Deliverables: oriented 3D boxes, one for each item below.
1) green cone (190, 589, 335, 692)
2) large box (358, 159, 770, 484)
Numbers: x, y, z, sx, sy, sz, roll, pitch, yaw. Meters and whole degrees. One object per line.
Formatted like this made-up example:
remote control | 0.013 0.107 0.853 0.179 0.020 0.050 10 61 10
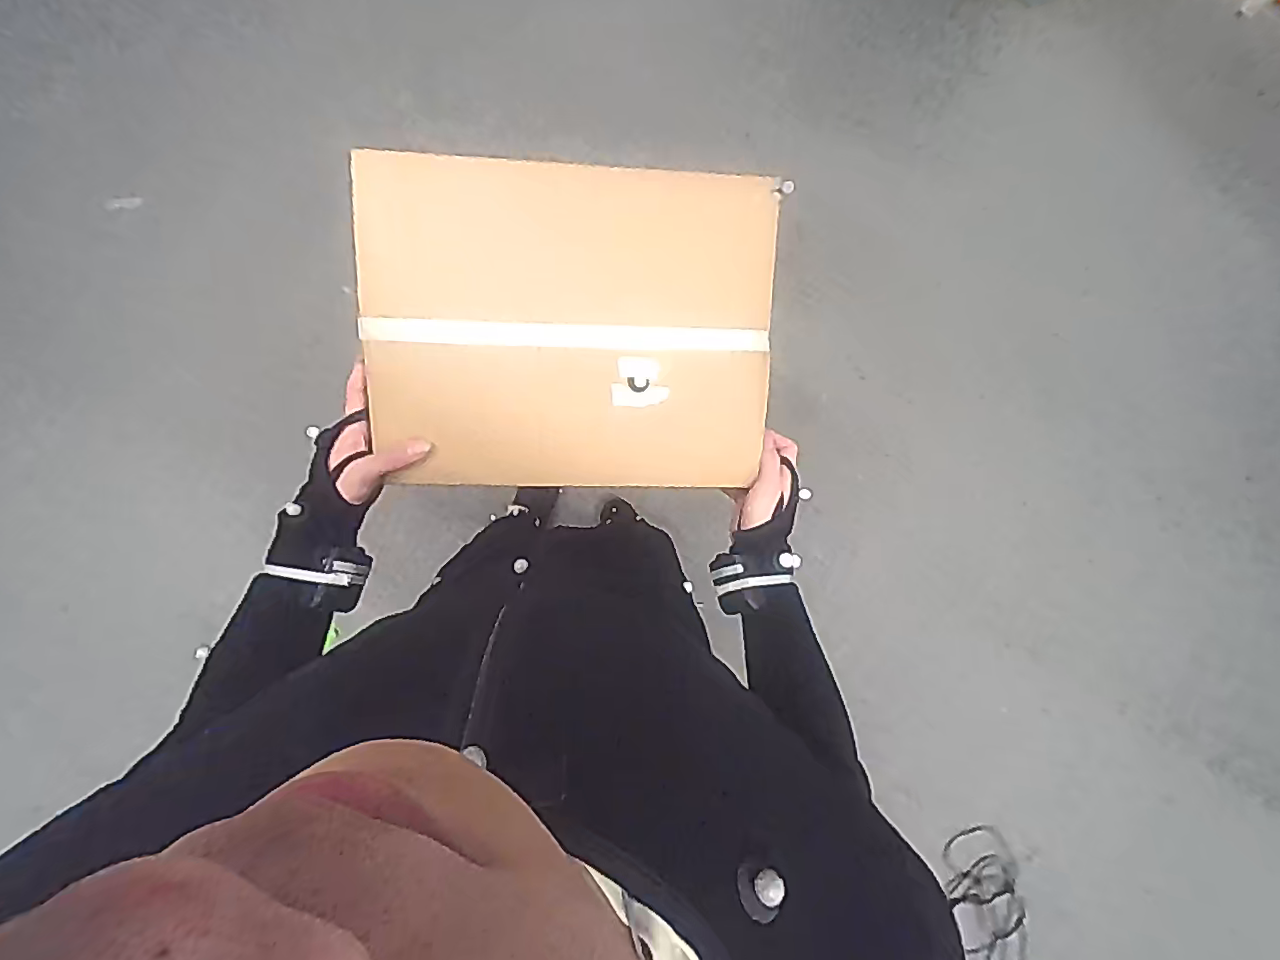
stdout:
green cone | -1.002 0.445 1.388 0.200 0.368 0.202 38 89 -4
large box | -0.085 -0.181 0.696 0.408 0.320 0.320 -1 103 -7
